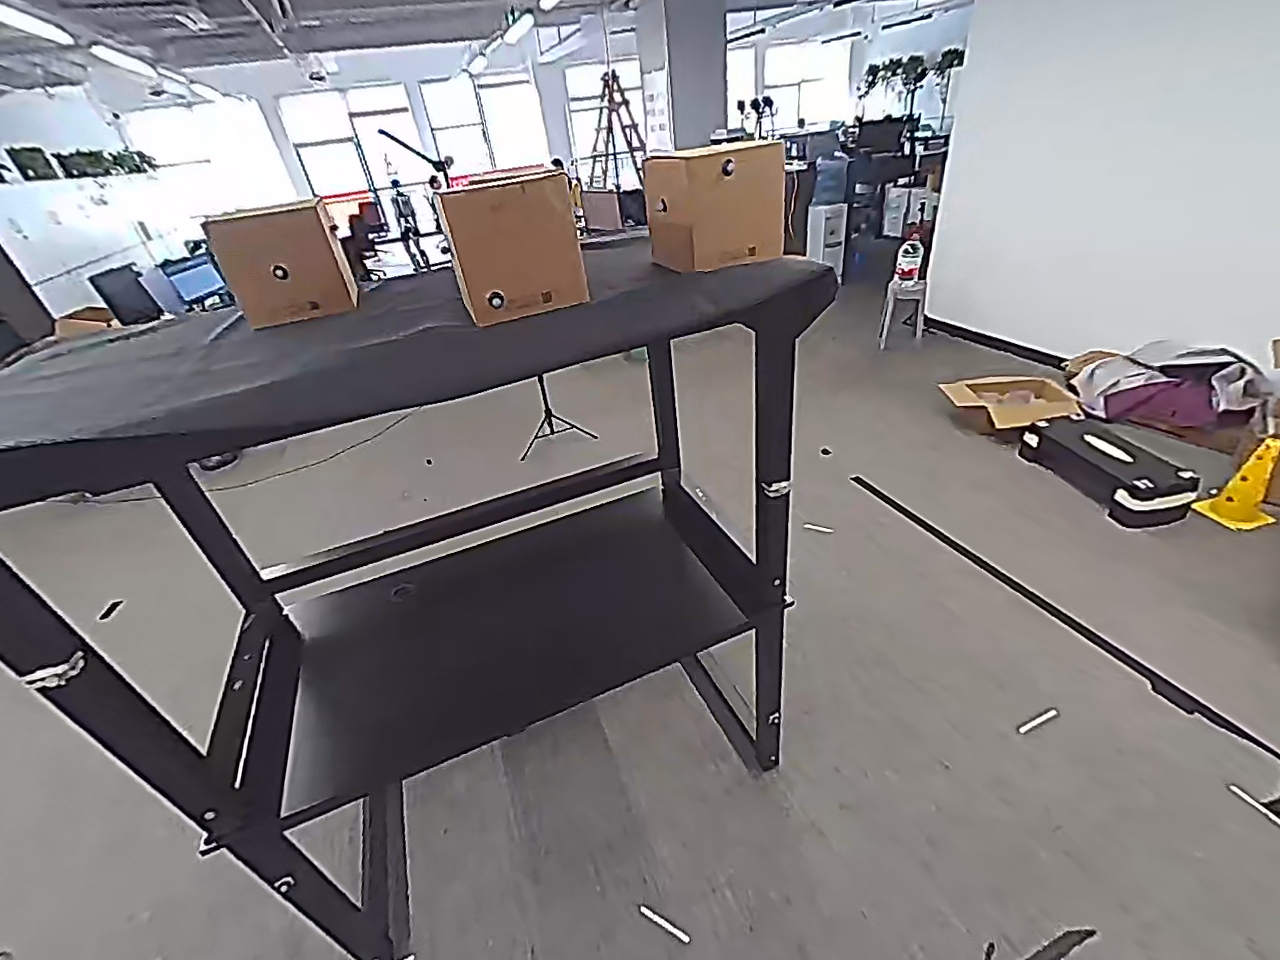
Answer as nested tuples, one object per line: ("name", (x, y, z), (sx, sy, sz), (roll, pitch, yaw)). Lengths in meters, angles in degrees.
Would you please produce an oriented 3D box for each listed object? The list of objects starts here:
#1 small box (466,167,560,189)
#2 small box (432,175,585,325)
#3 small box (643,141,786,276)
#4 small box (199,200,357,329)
("small box", (-0.233, -0.500, 1.053), (0.168, 0.176, 0.179), (-14, 33, -11))
("small box", (-0.190, -0.336, 0.789), (0.168, 0.176, 0.179), (-18, 32, -15))
("small box", (0.119, -0.442, 0.886), (0.168, 0.176, 0.179), (-19, 34, -15))
("small box", (-0.607, -0.372, 0.934), (0.168, 0.176, 0.179), (-18, 35, -16))
